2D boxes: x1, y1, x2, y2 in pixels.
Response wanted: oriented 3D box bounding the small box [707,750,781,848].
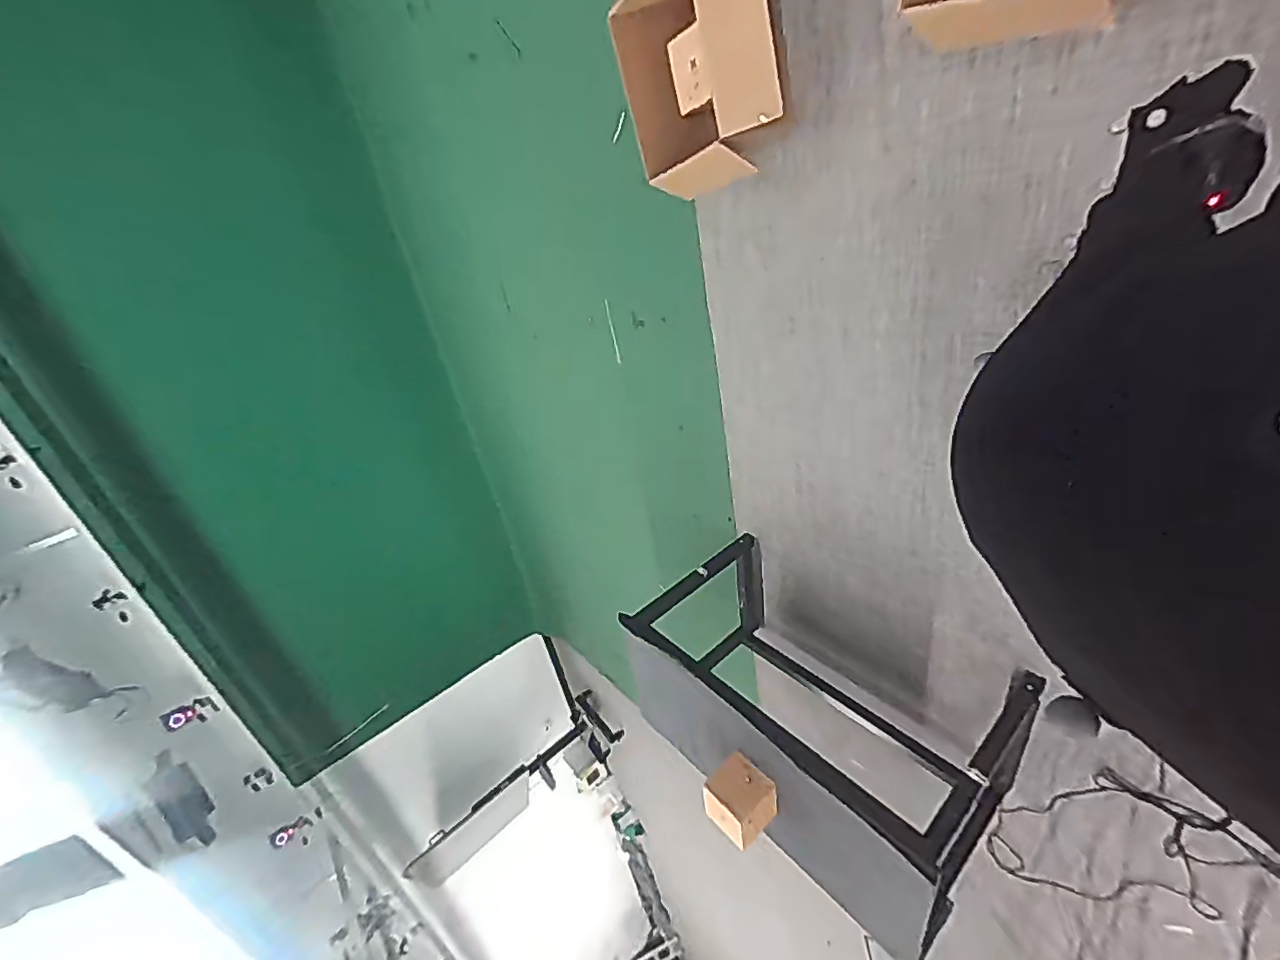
[{"bbox_3d":[0.339,1.023,1.744,0.168,0.176,0.179,27,136,45],"label":"small box"}]
